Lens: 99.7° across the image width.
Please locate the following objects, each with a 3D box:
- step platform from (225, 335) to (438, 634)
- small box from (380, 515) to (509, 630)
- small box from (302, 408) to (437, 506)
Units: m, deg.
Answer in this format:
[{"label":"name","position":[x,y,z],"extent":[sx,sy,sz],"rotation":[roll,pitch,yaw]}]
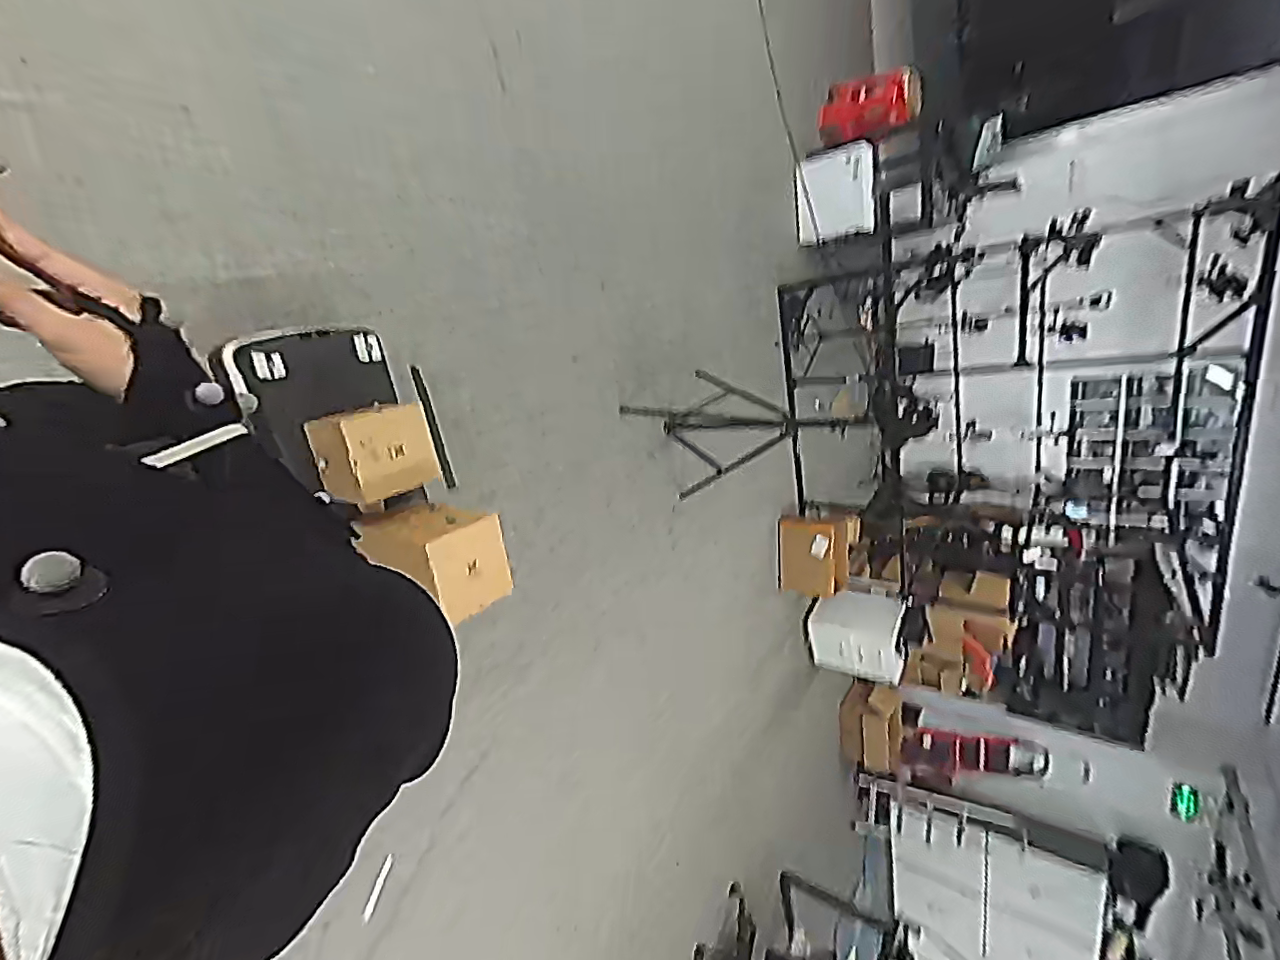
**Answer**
[{"label":"step platform","position":[-0.676,0.012,1.272],"extent":[0.286,0.204,0.684],"rotation":[-30,115,-48]},{"label":"small box","position":[-0.397,0.176,1.094],"extent":[0.168,0.176,0.179],"rotation":[-25,112,-49]},{"label":"small box","position":[-0.563,-0.055,1.130],"extent":[0.179,0.176,0.168],"rotation":[-27,113,-48]}]
